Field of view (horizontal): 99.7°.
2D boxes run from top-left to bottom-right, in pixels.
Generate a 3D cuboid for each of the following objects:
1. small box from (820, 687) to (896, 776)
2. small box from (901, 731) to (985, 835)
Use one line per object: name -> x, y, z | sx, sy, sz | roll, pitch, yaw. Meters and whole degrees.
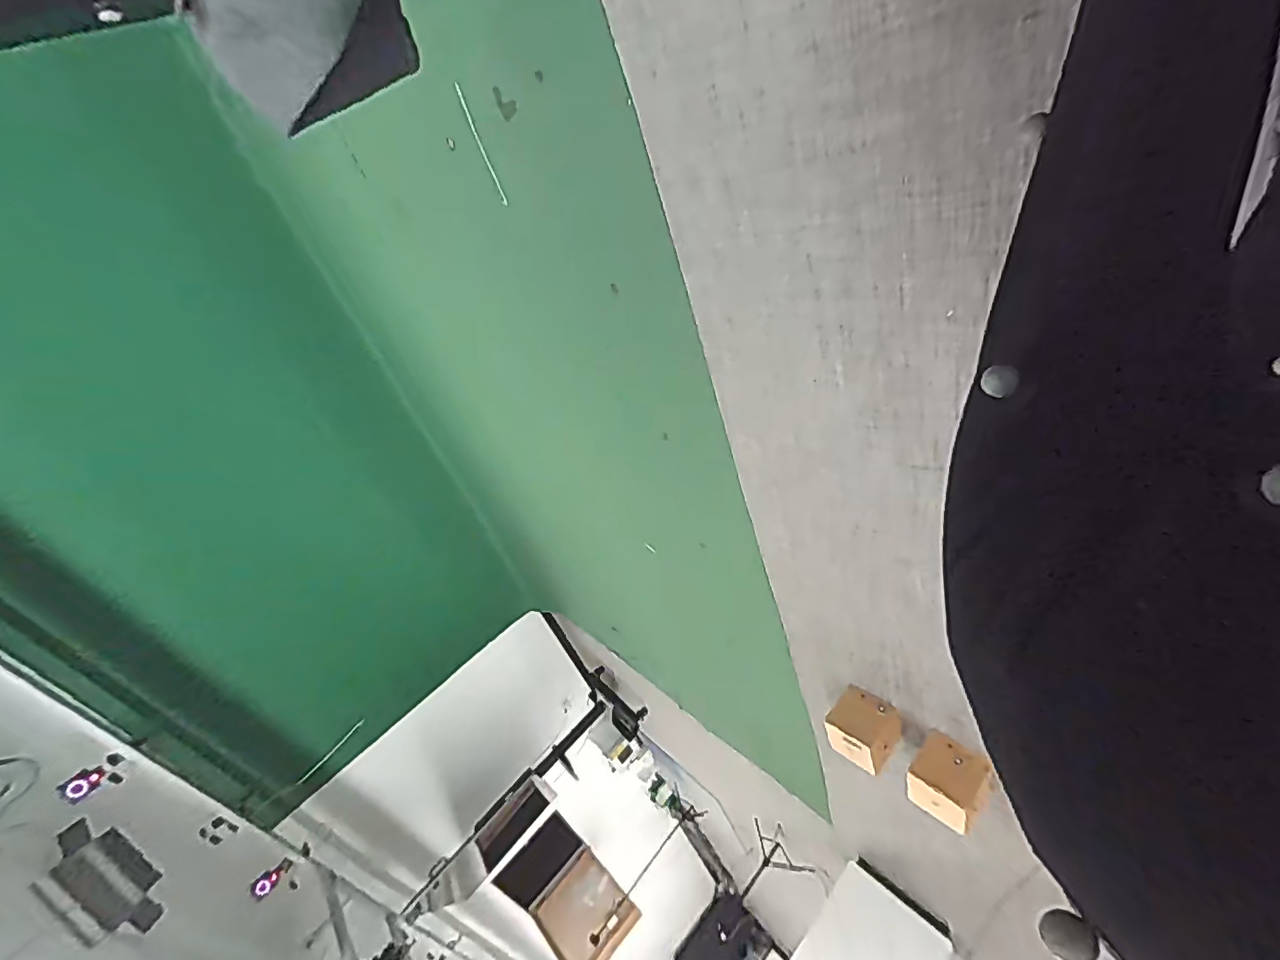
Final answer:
small box -> 0.731, 0.833, 1.806 | 0.168, 0.176, 0.179 | 19, 140, 49
small box -> 0.902, 0.897, 1.609 | 0.168, 0.176, 0.179 | 22, 141, 47
